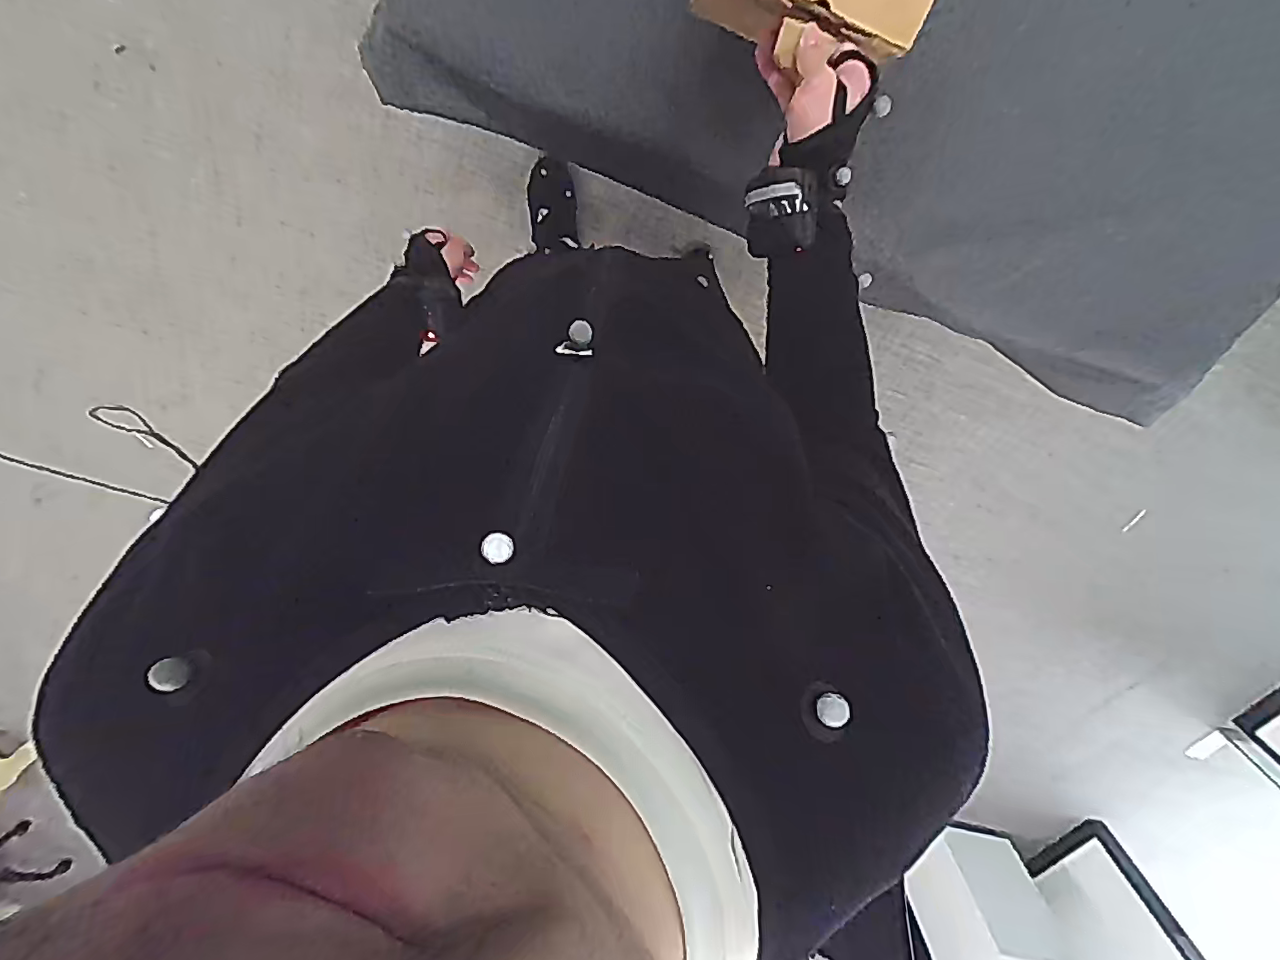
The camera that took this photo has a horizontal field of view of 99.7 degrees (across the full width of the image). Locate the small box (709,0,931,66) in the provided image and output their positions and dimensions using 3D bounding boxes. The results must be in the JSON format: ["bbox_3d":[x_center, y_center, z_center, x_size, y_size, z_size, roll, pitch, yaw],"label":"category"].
[{"bbox_3d":[0.161,-0.478,0.445,0.168,0.176,0.179,14,118,-16],"label":"small box"}]
